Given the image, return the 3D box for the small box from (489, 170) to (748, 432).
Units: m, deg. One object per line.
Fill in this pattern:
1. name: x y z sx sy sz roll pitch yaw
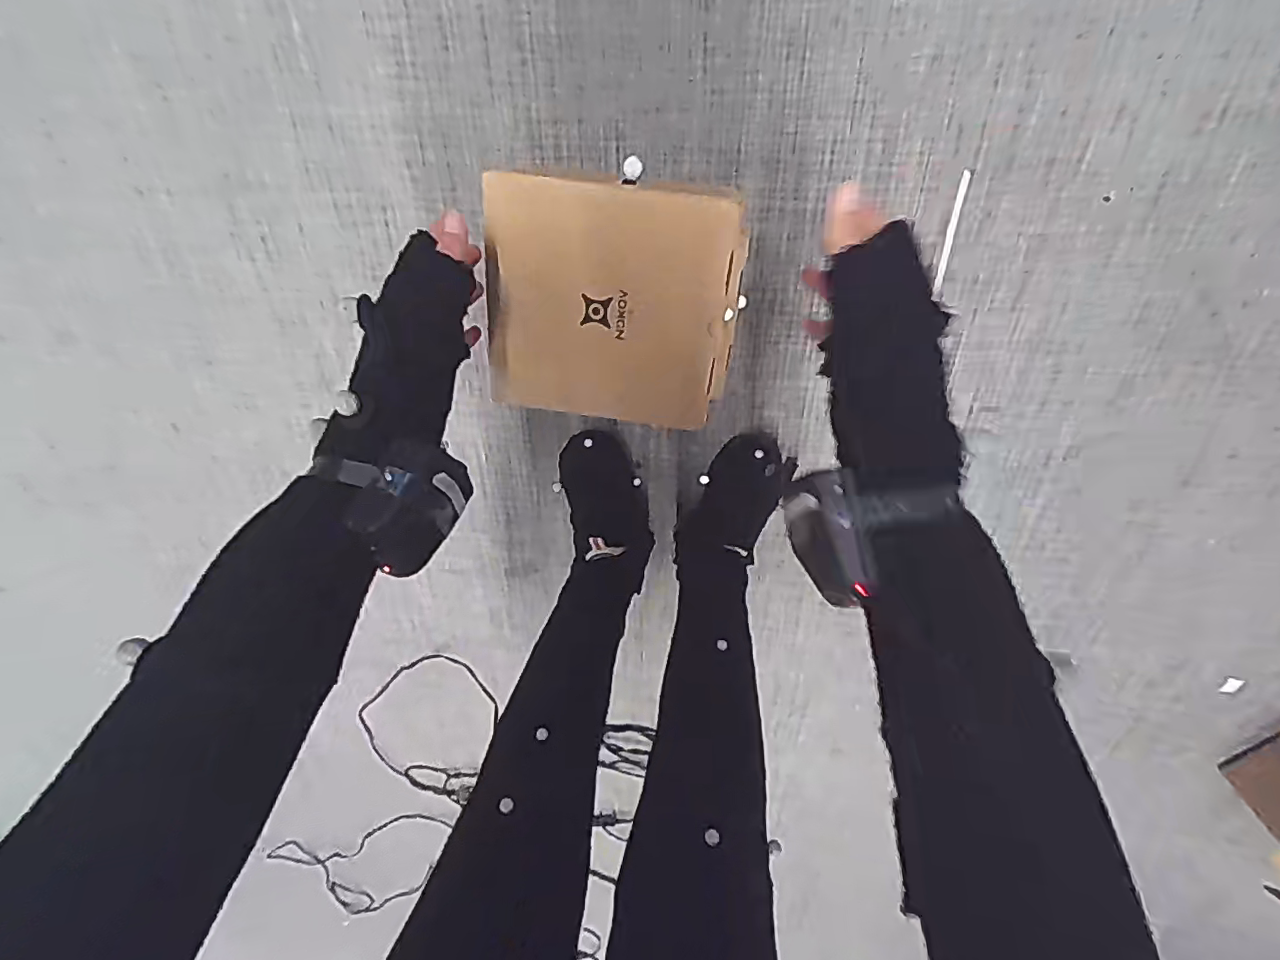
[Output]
1. small box: -0.015 -0.159 0.461 0.179 0.176 0.168 8 120 2

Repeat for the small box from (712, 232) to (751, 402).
1. small box: 0.022 -0.204 0.618 0.179 0.176 0.168 7 121 4
